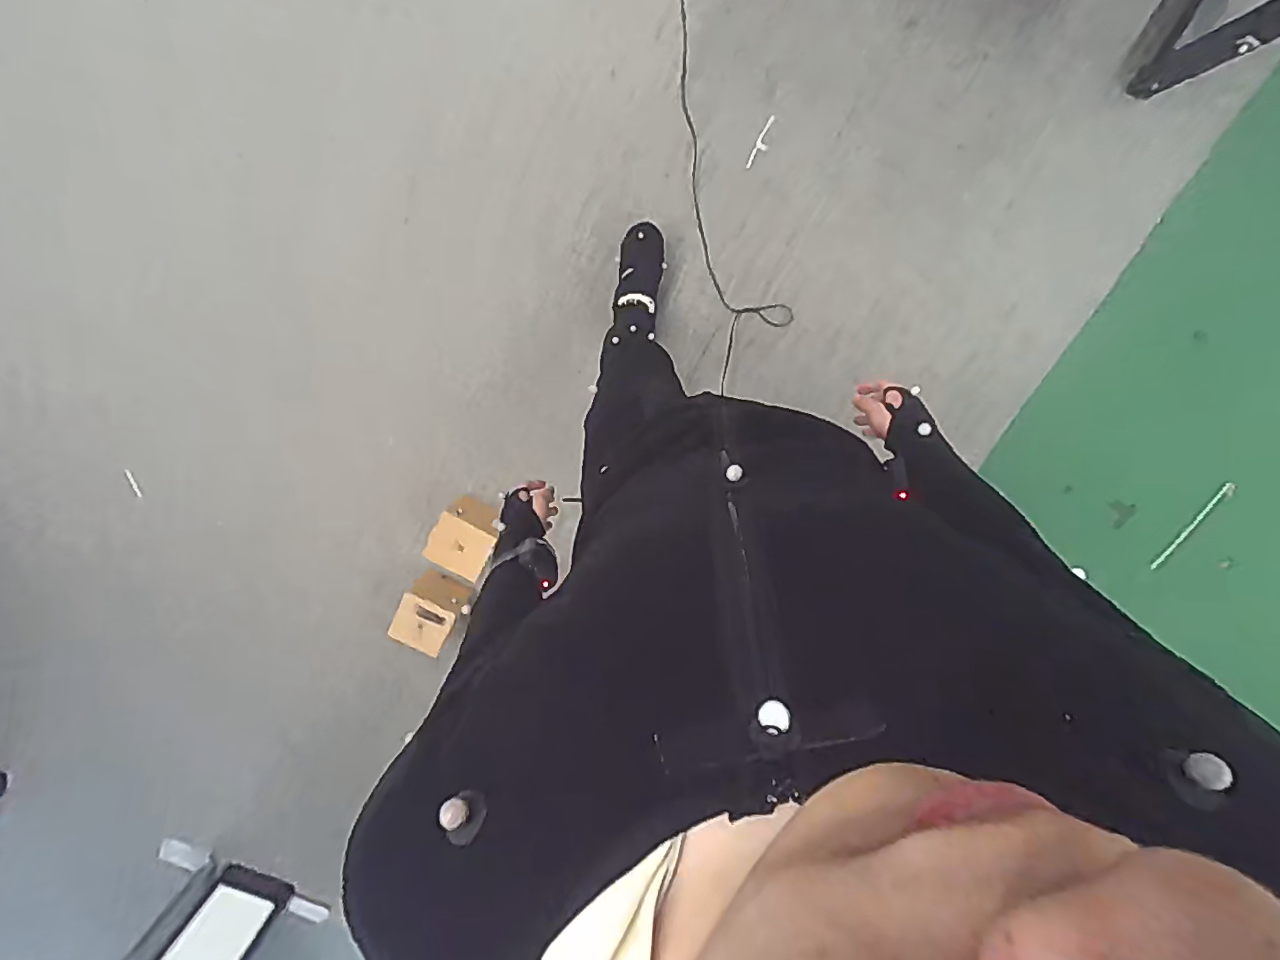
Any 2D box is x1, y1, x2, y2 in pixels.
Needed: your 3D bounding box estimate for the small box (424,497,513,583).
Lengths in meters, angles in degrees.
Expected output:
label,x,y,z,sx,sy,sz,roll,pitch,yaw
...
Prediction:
label,x,y,z,sx,sy,sz,roll,pitch,yaw
small box,-0.507,0.173,1.625,0.179,0.176,0.168,29,107,-5
